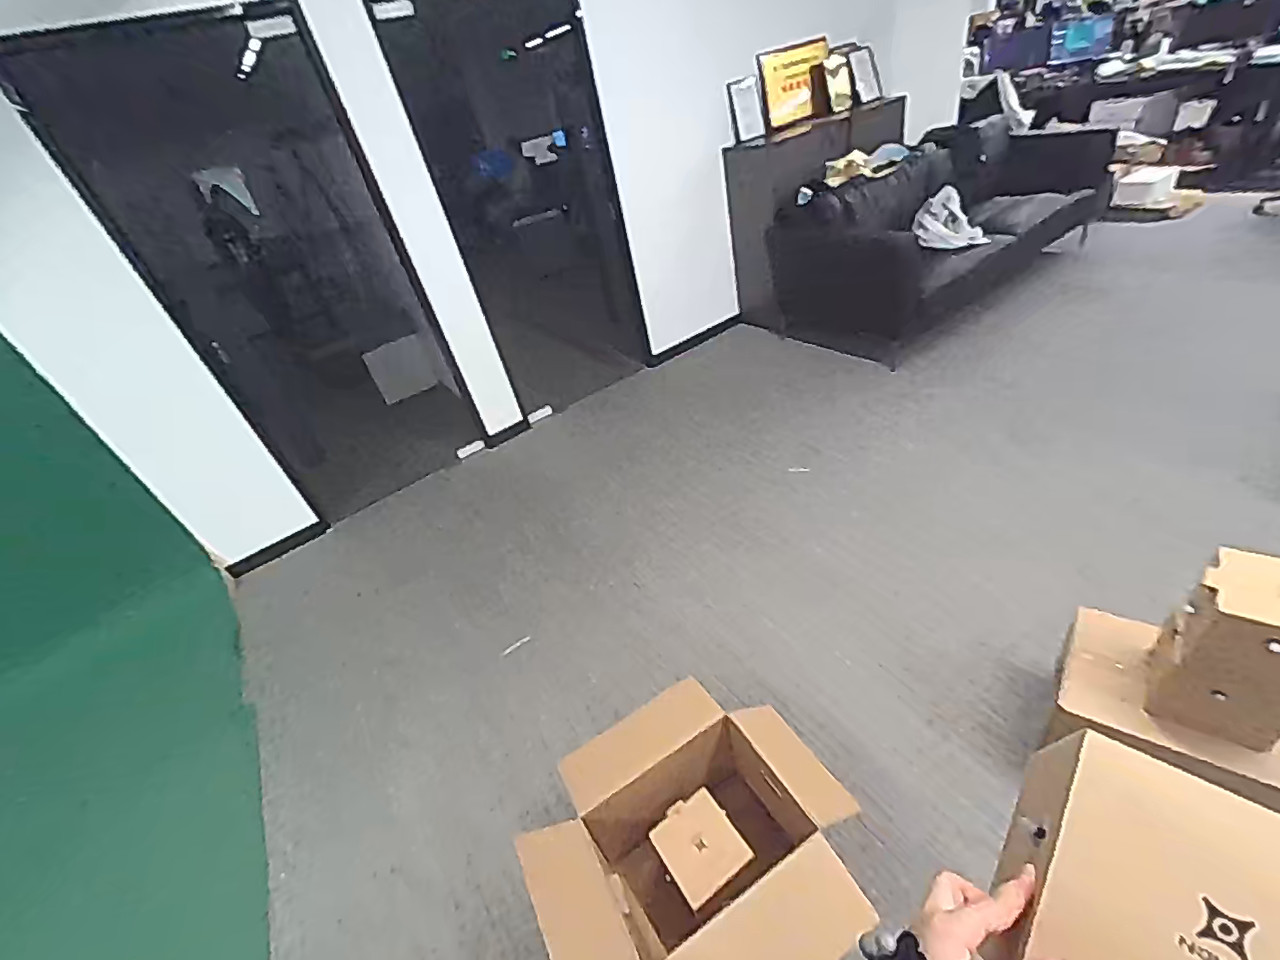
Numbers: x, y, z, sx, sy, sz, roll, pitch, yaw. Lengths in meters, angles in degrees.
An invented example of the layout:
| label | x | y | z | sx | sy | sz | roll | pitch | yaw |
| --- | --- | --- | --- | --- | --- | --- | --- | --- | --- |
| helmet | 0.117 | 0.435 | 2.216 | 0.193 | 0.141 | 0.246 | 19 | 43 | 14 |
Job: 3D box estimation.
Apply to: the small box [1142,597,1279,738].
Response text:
| label | x | y | z | sx | sy | sz | roll | pitch | yaw |
| --- | --- | --- | --- | --- | --- | --- | --- | --- | --- |
| small box | 1.122 | 0.366 | 1.058 | 0.179 | 0.176 | 0.168 | 16 | 47 | 36 |

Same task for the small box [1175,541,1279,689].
| label | x | y | z | sx | sy | sz | roll | pitch | yaw |
| --- | --- | --- | --- | --- | --- | --- | --- | --- | --- |
| small box | 1.096 | 0.242 | 0.955 | 0.179 | 0.176 | 0.168 | 16 | 47 | 37 |

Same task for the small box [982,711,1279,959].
| label | x | y | z | sx | sy | sz | roll | pitch | yaw |
| --- | --- | --- | --- | --- | --- | --- | --- | --- | --- |
| small box | 0.371 | 0.303 | 0.390 | 0.168 | 0.176 | 0.179 | 21 | 68 | 33 |
